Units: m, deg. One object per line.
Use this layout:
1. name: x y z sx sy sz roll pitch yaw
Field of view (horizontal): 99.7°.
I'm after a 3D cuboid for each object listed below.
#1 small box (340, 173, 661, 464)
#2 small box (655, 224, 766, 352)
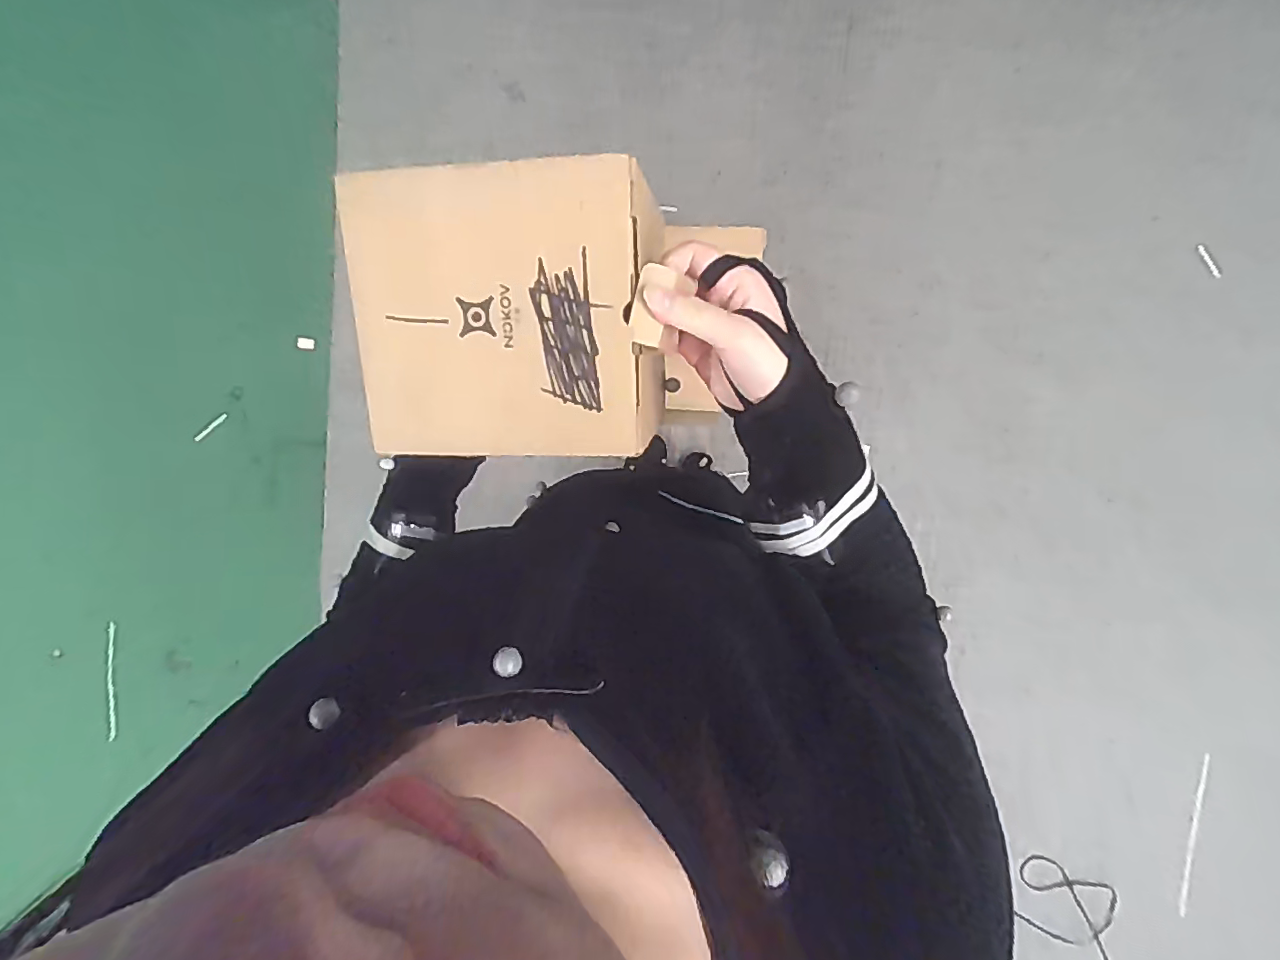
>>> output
1. small box: -0.077 -0.113 0.397 0.179 0.176 0.168 2 105 8
2. small box: 0.107 -0.316 0.922 0.179 0.176 0.168 5 94 4
